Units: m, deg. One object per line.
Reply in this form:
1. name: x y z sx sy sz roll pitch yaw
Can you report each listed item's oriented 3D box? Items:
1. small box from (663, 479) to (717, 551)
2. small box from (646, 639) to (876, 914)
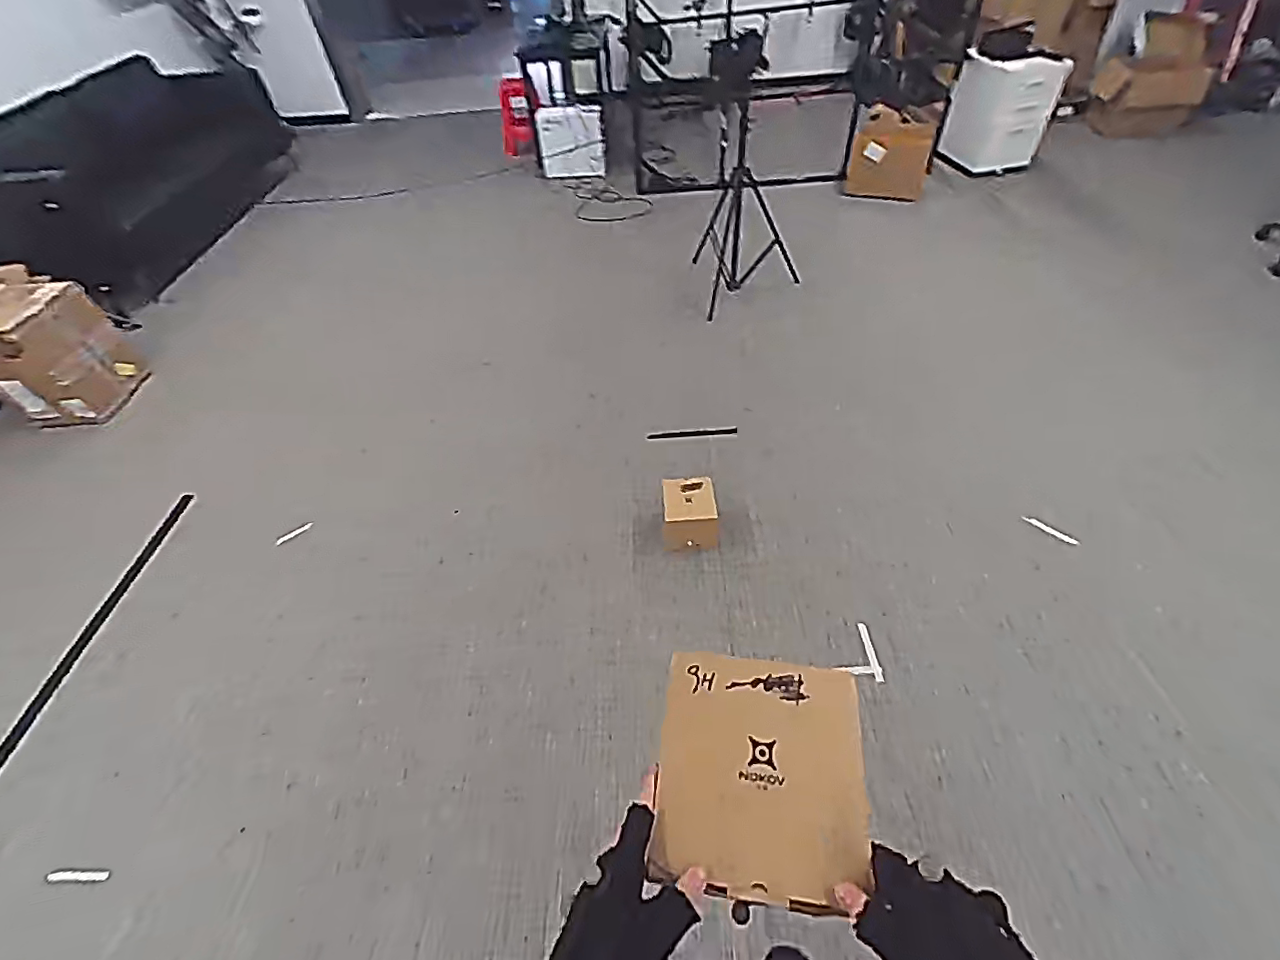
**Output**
1. small box: 0.162 0.118 1.801 0.168 0.176 0.179 -4 49 2
2. small box: 0.102 0.270 0.497 0.168 0.176 0.179 7 53 7
